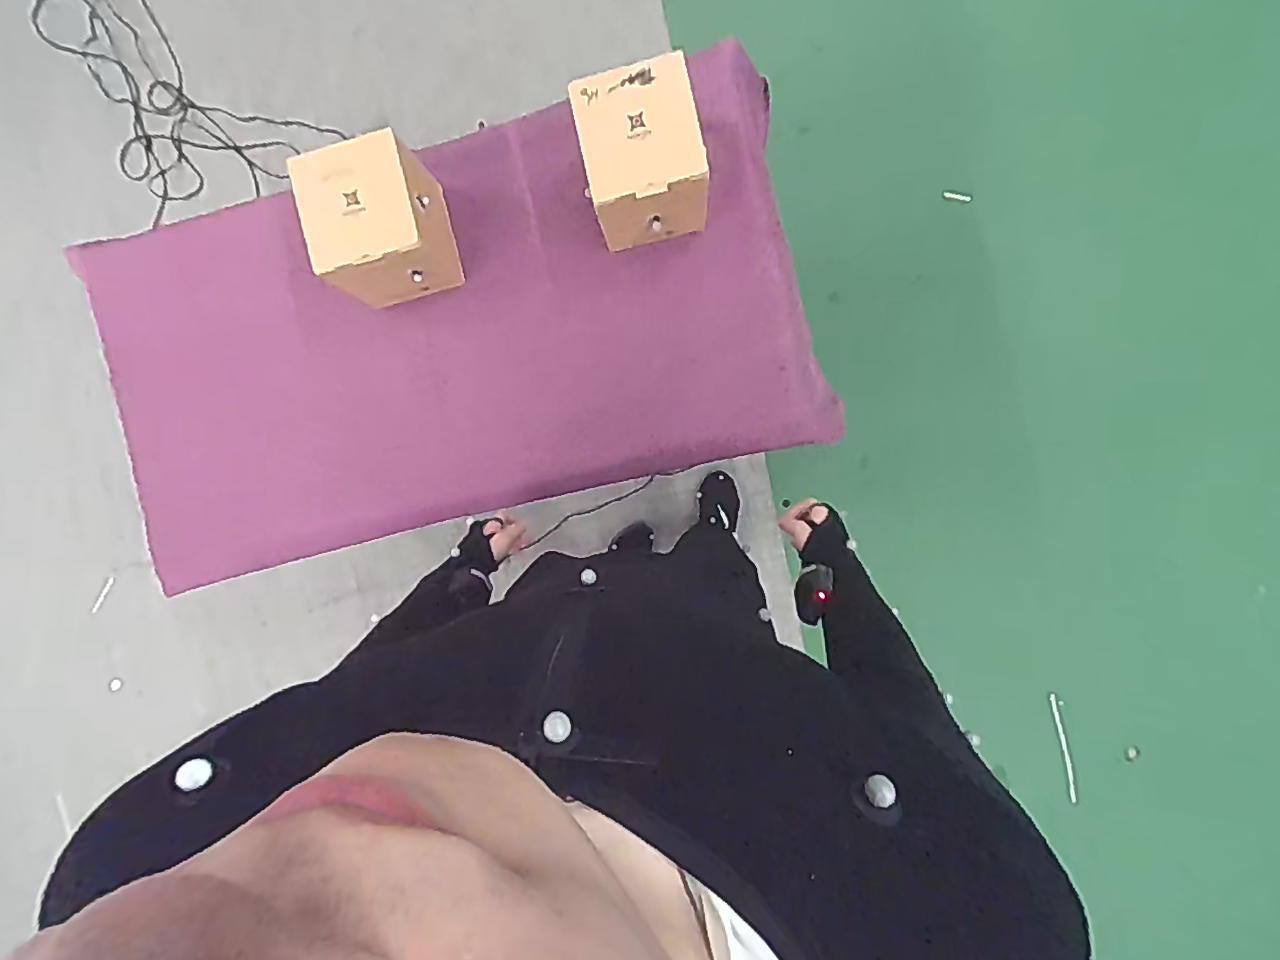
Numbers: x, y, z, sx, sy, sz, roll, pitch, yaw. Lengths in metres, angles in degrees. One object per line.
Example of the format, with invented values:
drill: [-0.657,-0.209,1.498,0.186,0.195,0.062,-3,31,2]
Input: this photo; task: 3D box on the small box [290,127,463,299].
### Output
small box: [-0.402,-0.403,0.856,0.168,0.176,0.179,-14,90,5]

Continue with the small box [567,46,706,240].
small box: [0.003,-0.485,0.814,0.168,0.176,0.179,-12,91,6]
